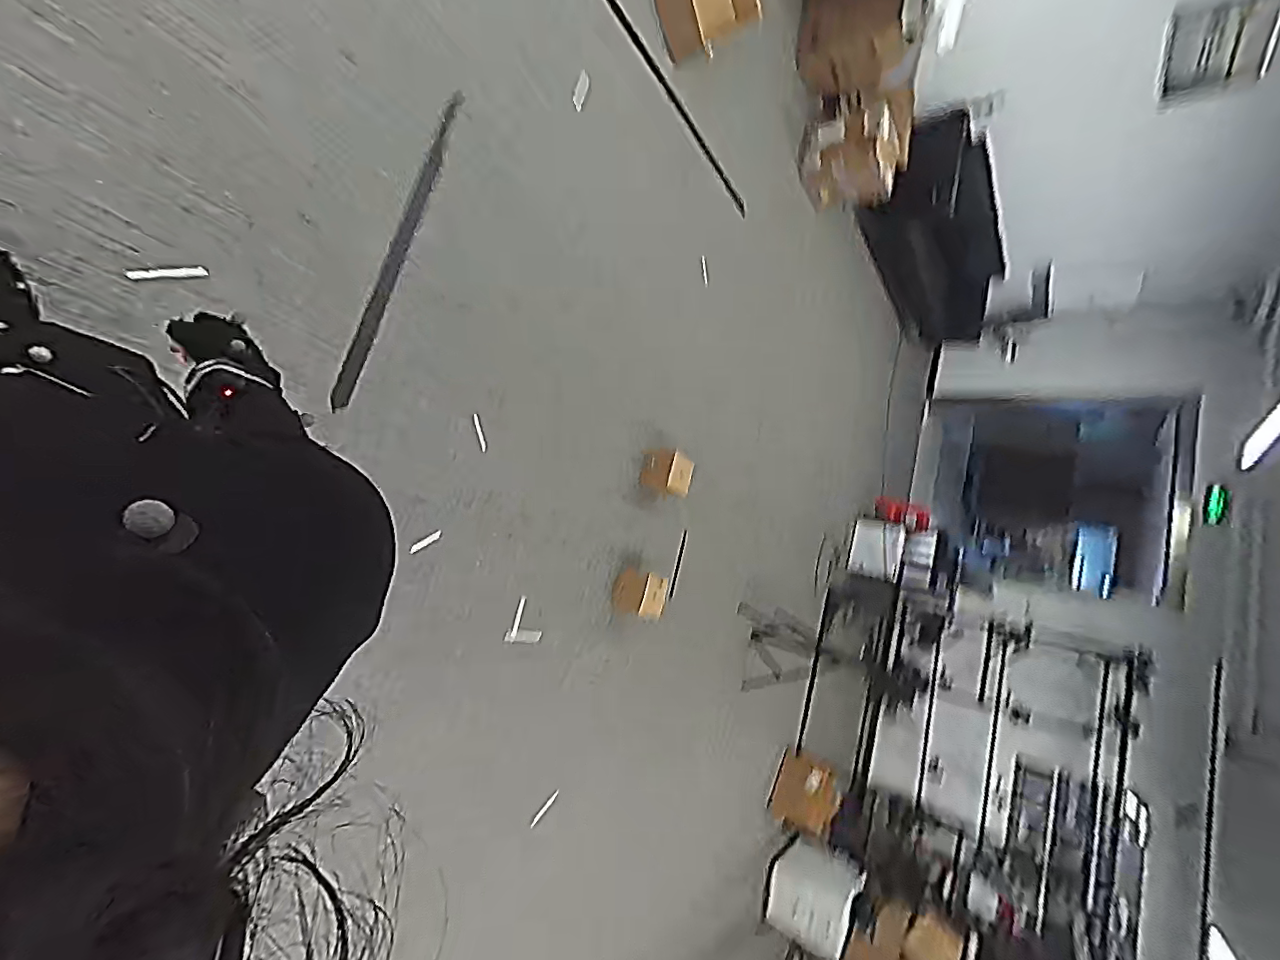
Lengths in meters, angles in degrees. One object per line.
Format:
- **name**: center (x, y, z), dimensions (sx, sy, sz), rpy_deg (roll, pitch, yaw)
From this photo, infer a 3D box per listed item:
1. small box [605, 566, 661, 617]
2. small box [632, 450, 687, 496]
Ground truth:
- **small box**: center (-0.037, 0.506, 2.467), dimensions (0.168, 0.176, 0.179), rpy_deg (31, 72, -50)
- **small box**: center (0.092, -0.037, 2.550), dimensions (0.179, 0.176, 0.168), rpy_deg (31, 70, -49)
